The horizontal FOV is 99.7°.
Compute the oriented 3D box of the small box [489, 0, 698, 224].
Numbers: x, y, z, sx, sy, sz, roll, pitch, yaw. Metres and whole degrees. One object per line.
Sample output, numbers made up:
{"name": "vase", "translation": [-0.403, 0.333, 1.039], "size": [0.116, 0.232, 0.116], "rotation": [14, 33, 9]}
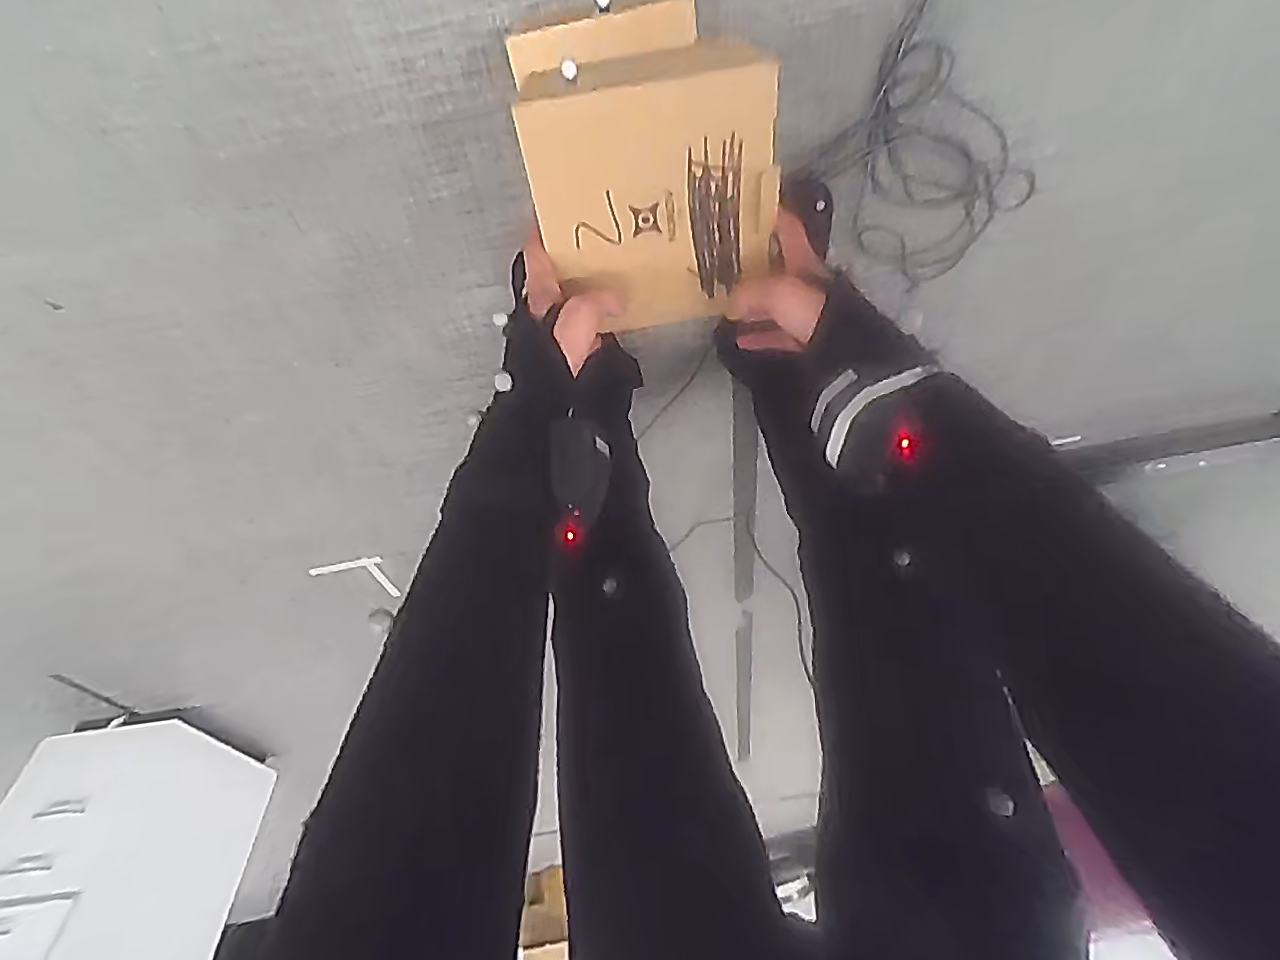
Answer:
{"name": "small box", "translation": [-0.042, -0.404, 0.582], "size": [0.179, 0.176, 0.168], "rotation": [-11, 135, 3]}
